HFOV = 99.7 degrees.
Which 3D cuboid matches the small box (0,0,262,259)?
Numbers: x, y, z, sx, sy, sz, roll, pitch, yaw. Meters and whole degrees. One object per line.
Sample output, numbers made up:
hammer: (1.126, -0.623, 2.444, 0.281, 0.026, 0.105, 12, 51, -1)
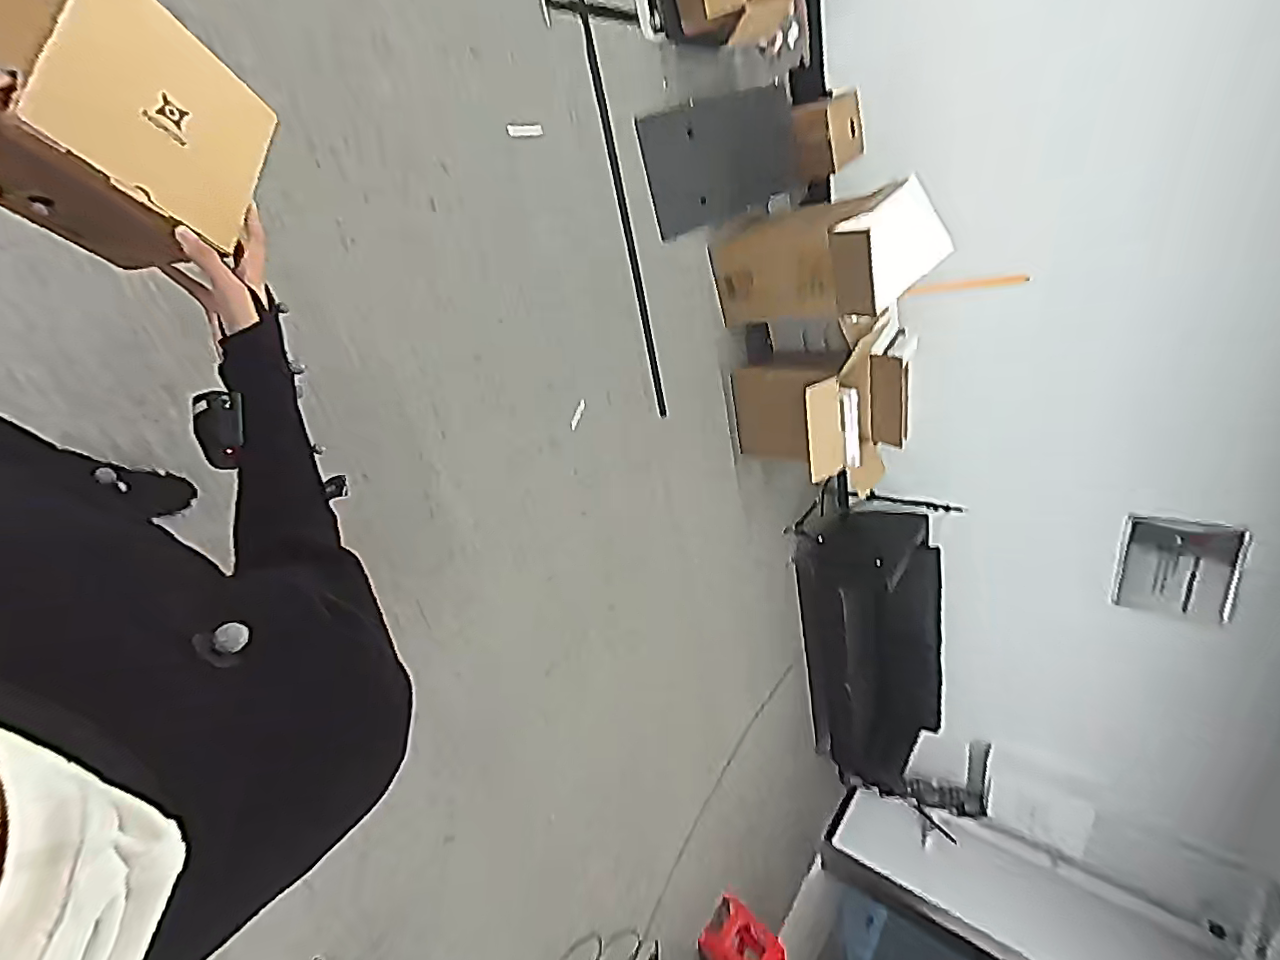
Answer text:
small box: (-0.508, -0.332, 0.503, 0.168, 0.176, 0.179, 38, 58, -69)
